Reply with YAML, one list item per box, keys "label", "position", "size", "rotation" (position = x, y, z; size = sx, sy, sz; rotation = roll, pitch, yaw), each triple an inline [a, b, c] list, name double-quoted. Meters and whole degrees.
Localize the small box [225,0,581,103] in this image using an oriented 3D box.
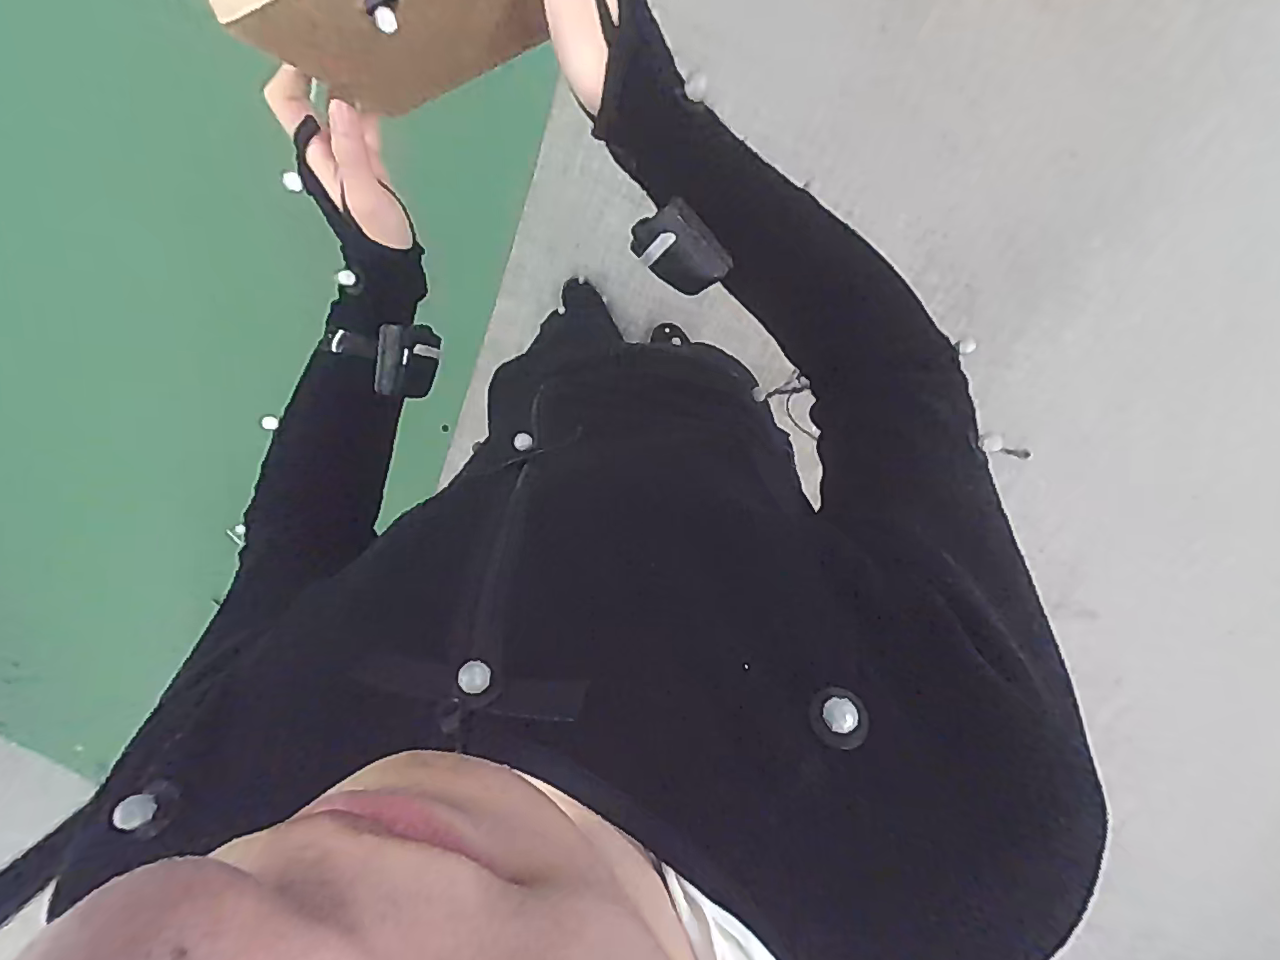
- label: "small box"
  position: [-0.153, -0.371, 0.329]
  size: [0.179, 0.176, 0.168]
  rotation: [-15, 106, 13]
